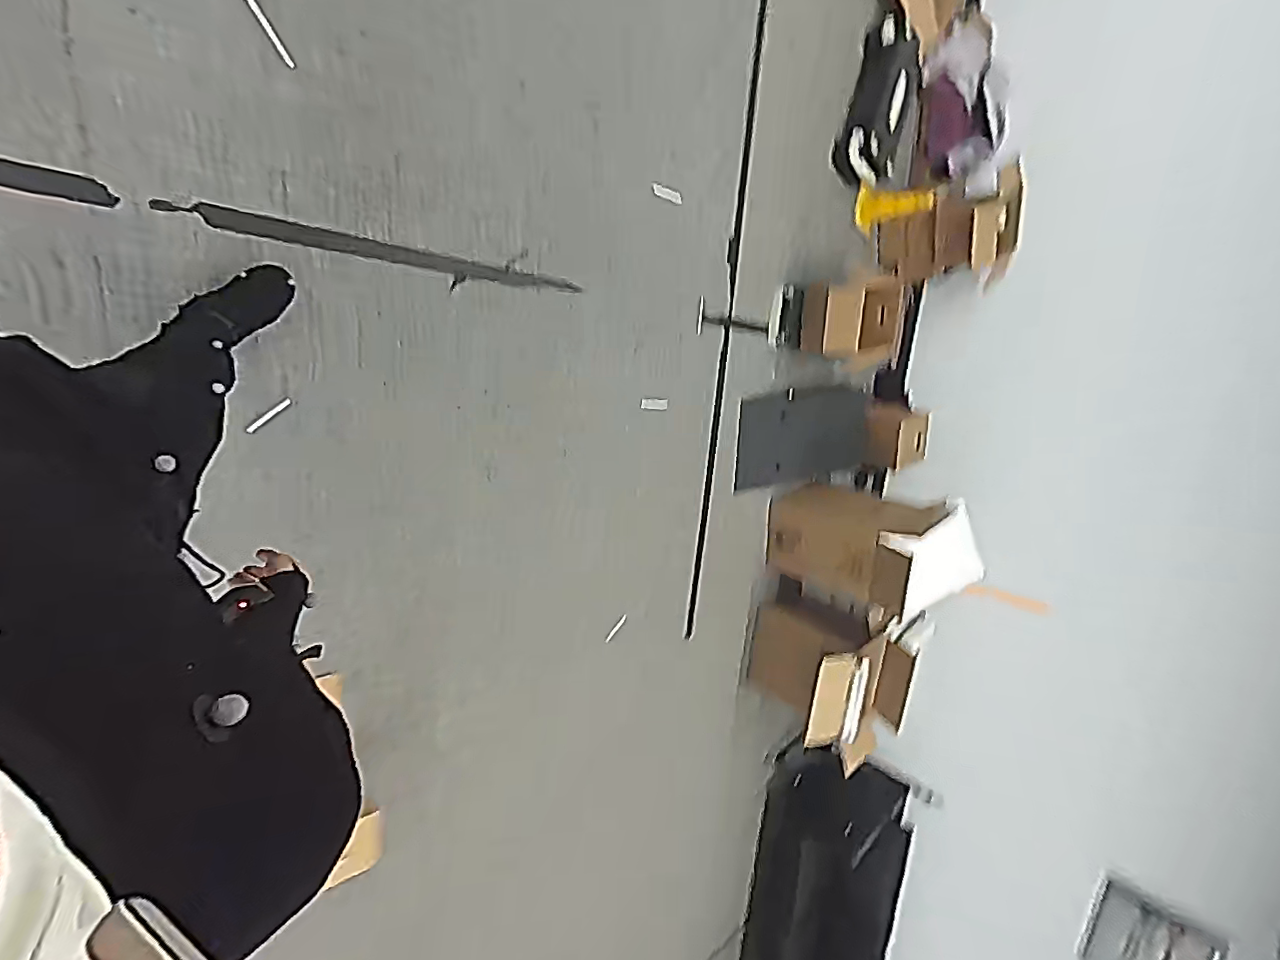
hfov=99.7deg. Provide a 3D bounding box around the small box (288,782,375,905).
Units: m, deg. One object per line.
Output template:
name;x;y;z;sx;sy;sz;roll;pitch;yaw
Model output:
small box;-0.827;0.960;1.444;0.168;0.176;0.179;-2;104;-45

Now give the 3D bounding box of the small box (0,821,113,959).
small box;-1.309;0.909;1.195;0.179;0.176;0.168;-17;114;-40
